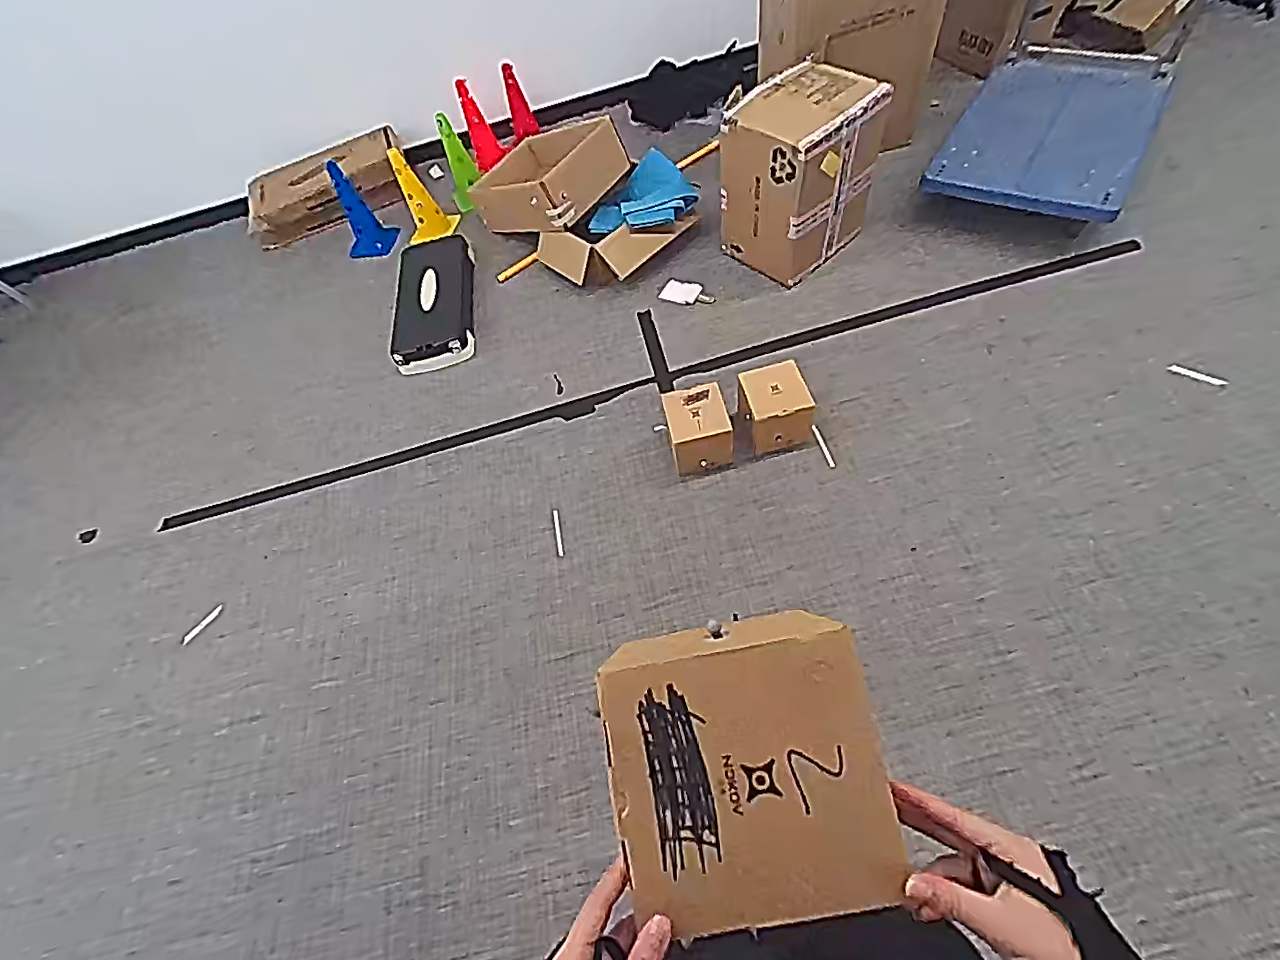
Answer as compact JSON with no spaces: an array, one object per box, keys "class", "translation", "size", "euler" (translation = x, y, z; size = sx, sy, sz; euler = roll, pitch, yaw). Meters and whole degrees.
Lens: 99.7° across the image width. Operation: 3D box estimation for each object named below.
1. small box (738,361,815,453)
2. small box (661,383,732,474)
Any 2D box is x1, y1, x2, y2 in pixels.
[{"class":"small box","translation":[0.381,-0.206,1.549],"size":[0.168,0.176,0.179],"euler":[-15,58,1]},{"class":"small box","translation":[0.163,-0.144,1.548],"size":[0.168,0.176,0.179],"euler":[-13,59,2]}]
